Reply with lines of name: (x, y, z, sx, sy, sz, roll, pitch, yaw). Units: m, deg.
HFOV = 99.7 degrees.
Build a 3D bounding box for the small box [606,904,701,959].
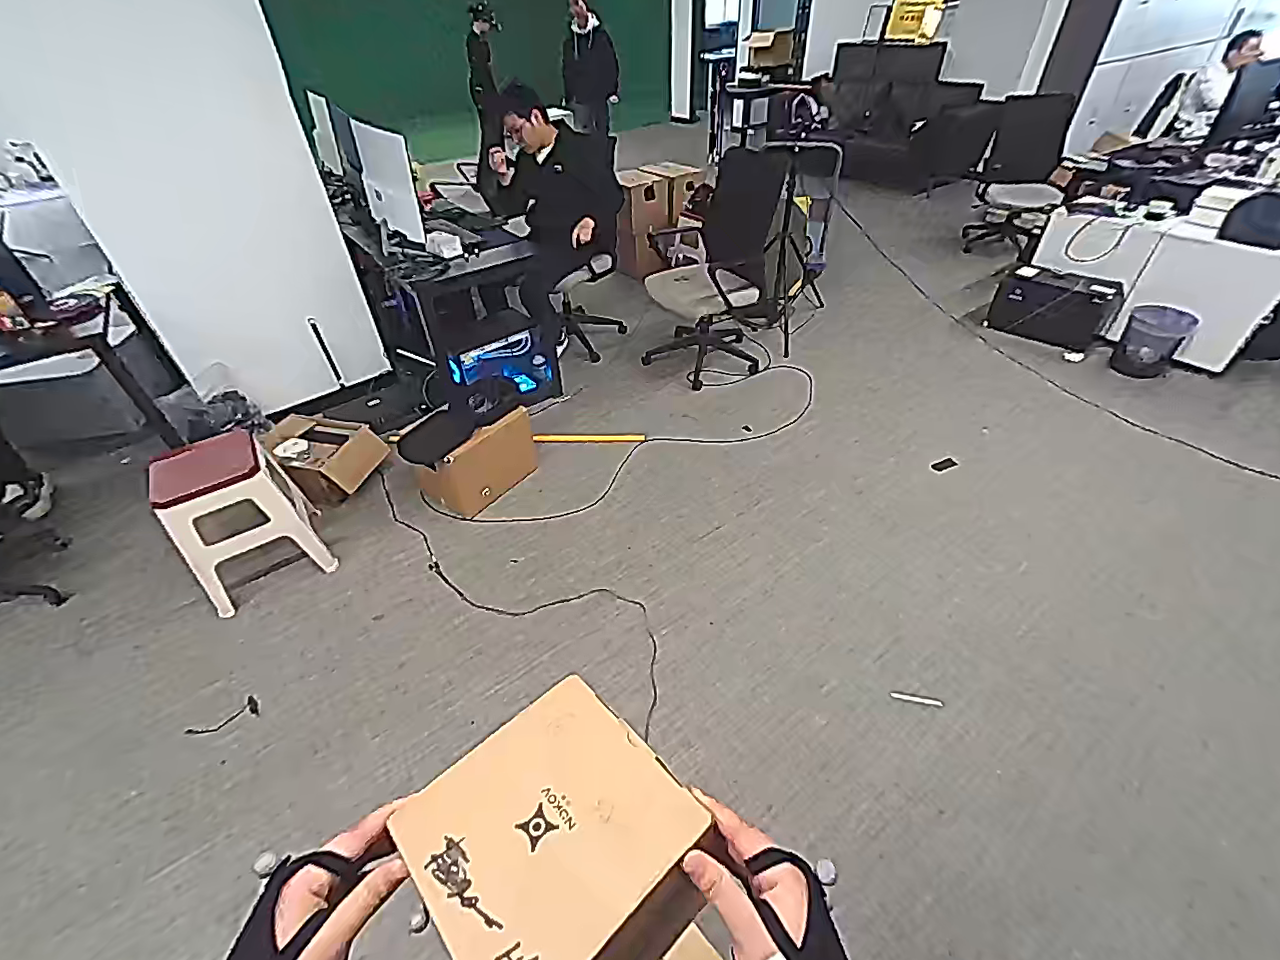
small box: (0.028, 0.991, 1.058, 0.179, 0.176, 0.168, -31, 49, -28)
